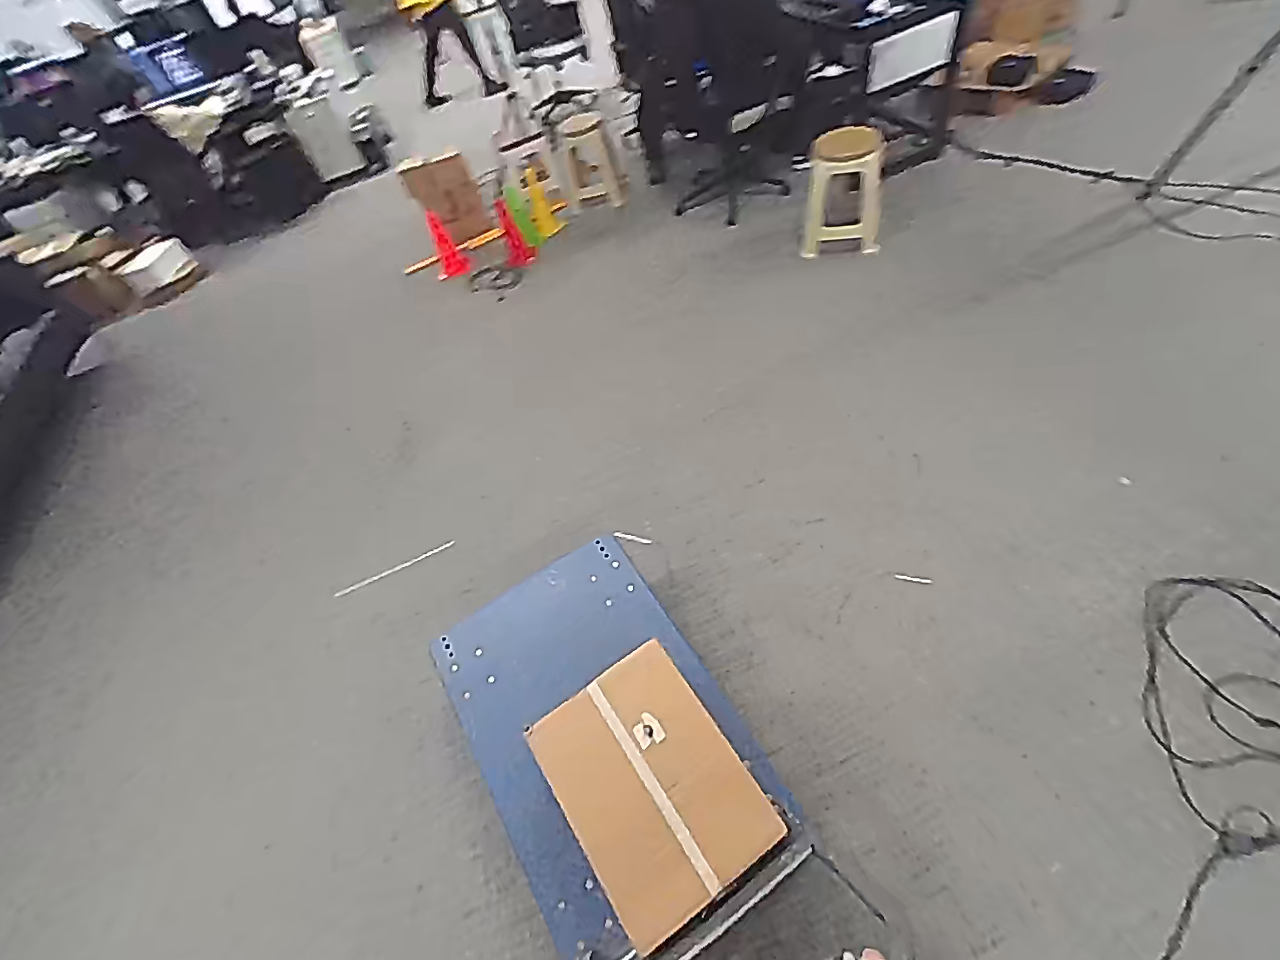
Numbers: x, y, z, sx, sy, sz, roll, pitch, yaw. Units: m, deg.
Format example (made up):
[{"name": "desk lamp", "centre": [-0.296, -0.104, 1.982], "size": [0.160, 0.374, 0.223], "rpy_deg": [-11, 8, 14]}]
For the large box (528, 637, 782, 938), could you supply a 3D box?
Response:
[{"name": "large box", "centre": [0.033, 0.612, 1.138], "size": [0.320, 0.320, 0.408], "rpy_deg": [-34, 64, -12]}]
